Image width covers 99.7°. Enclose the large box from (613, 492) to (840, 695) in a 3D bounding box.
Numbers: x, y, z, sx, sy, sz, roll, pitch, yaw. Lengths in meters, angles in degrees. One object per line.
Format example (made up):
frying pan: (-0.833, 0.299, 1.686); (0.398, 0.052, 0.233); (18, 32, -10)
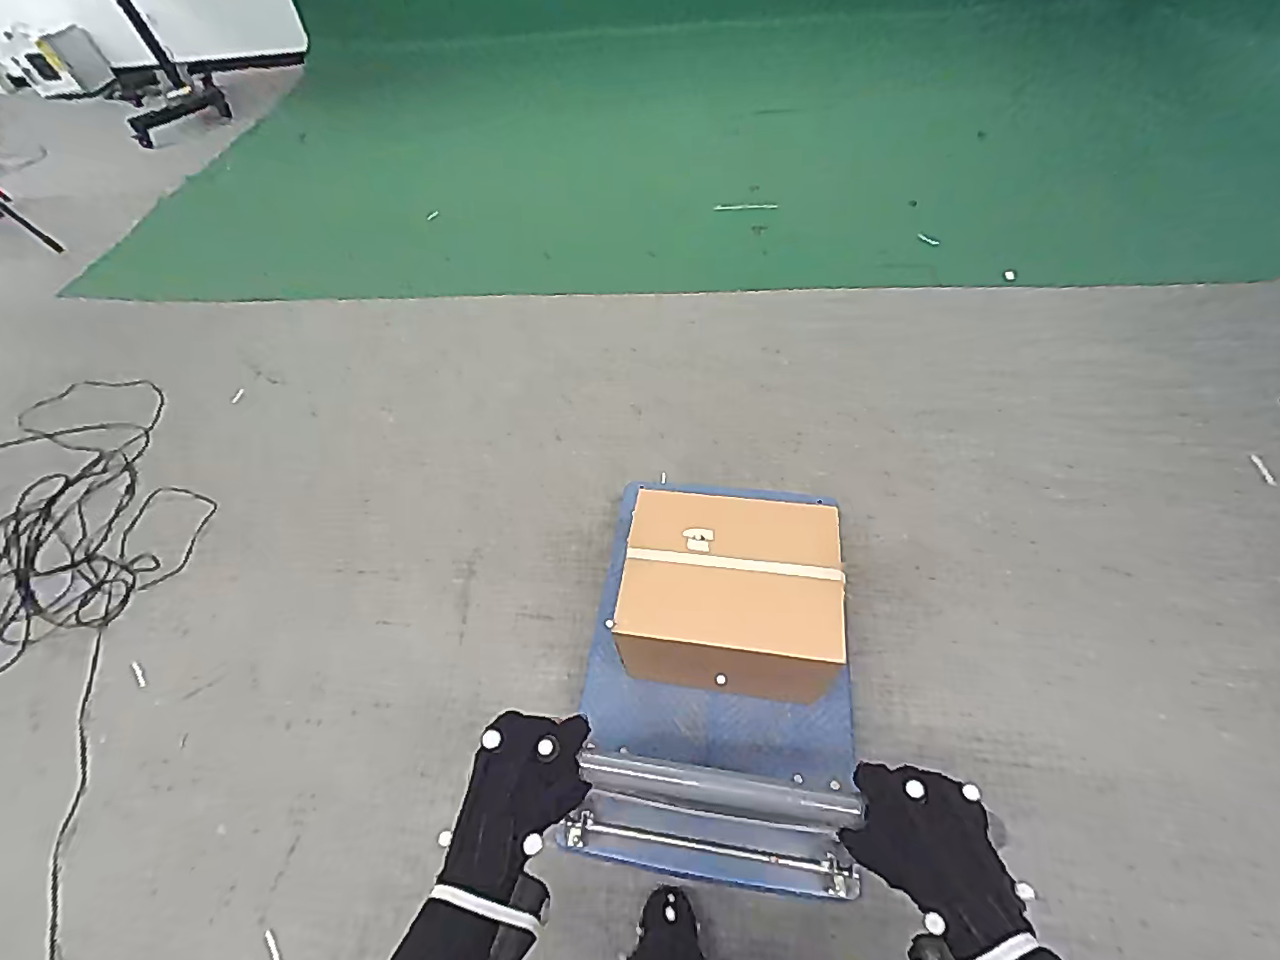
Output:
large box: (0.183, 0.246, 1.153); (0.408, 0.320, 0.320); (4, 55, 10)
